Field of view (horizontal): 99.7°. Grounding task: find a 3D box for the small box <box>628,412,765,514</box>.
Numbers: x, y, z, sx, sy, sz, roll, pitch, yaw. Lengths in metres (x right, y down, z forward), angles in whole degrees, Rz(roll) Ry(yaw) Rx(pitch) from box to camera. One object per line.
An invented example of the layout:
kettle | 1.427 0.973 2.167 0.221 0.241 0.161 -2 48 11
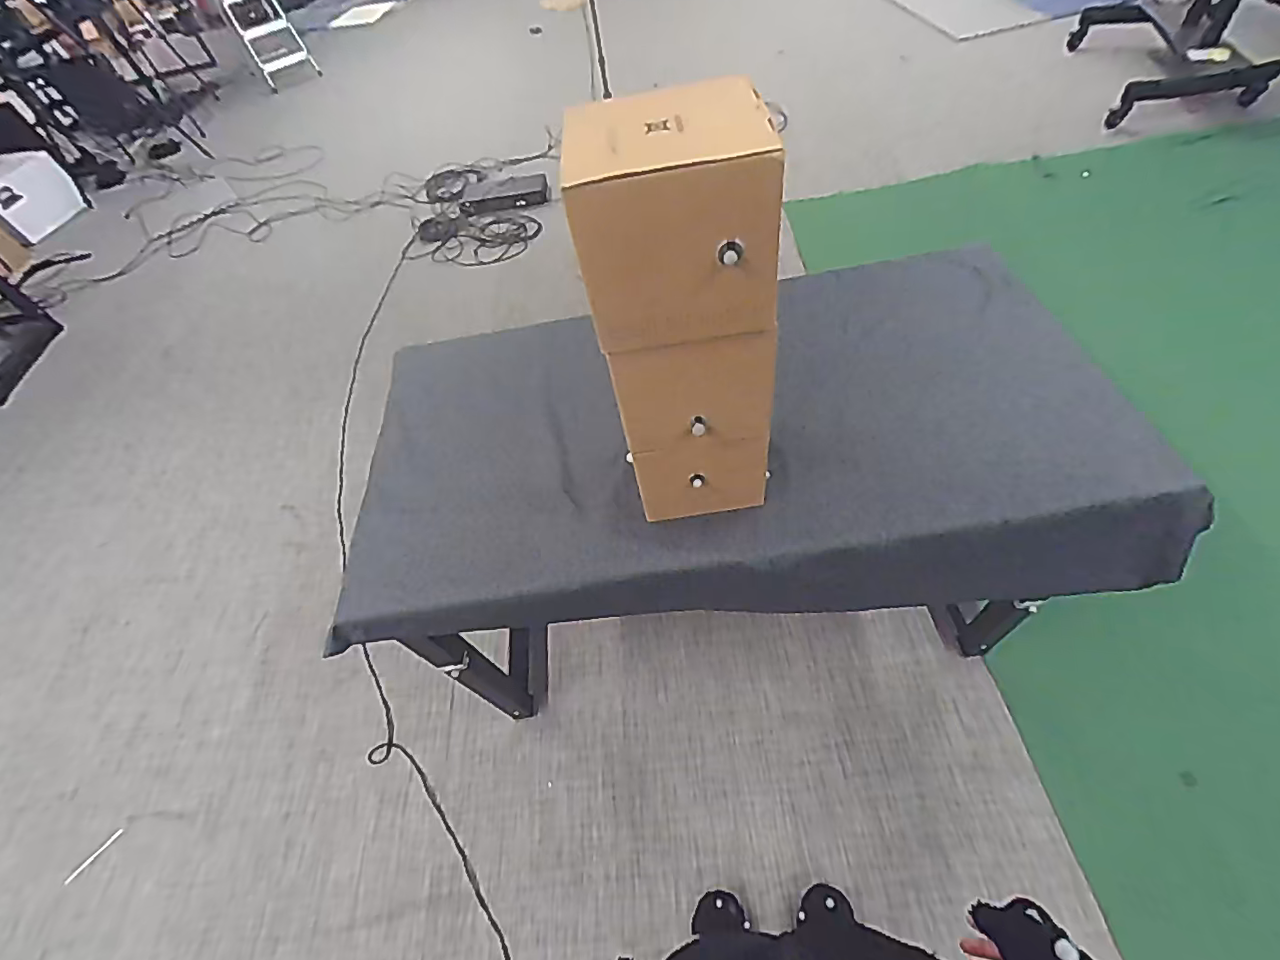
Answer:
small box | 0.076 -0.069 0.788 0.179 0.176 0.168 -10 53 4

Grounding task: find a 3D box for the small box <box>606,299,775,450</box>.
small box | 0.053 -0.158 0.657 0.179 0.176 0.168 -11 55 3

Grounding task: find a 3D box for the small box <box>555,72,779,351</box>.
small box | 0.027 -0.250 0.522 0.179 0.176 0.168 -9 53 6
